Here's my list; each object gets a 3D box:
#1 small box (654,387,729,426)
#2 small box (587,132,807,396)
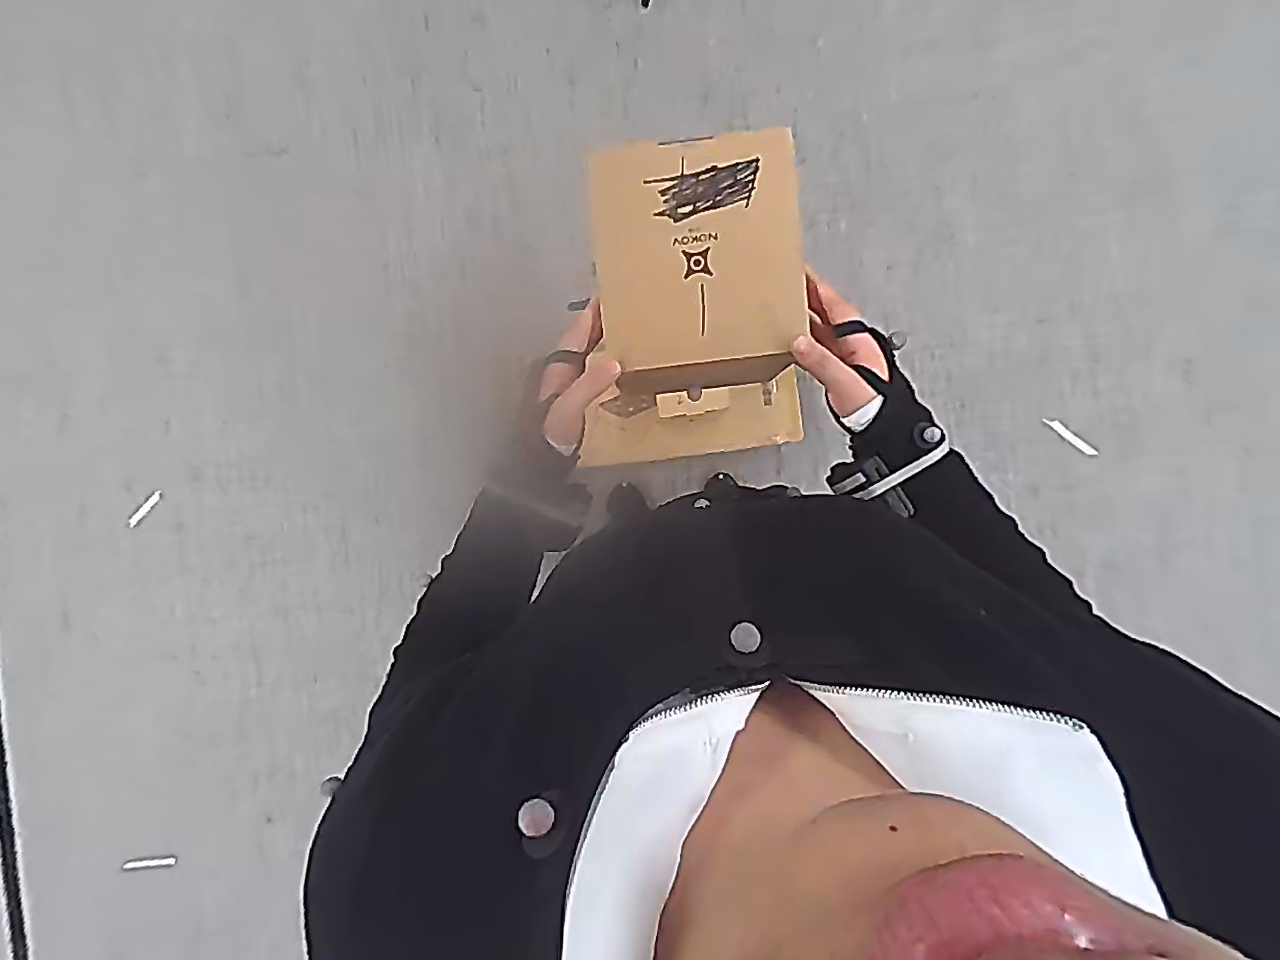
[{"bbox_3d":[0.115,-0.237,1.320,0.168,0.176,0.179,-8,88,2],"label":"small box"},{"bbox_3d":[0.047,-0.184,0.510,0.168,0.176,0.179,-6,92,3],"label":"small box"}]
